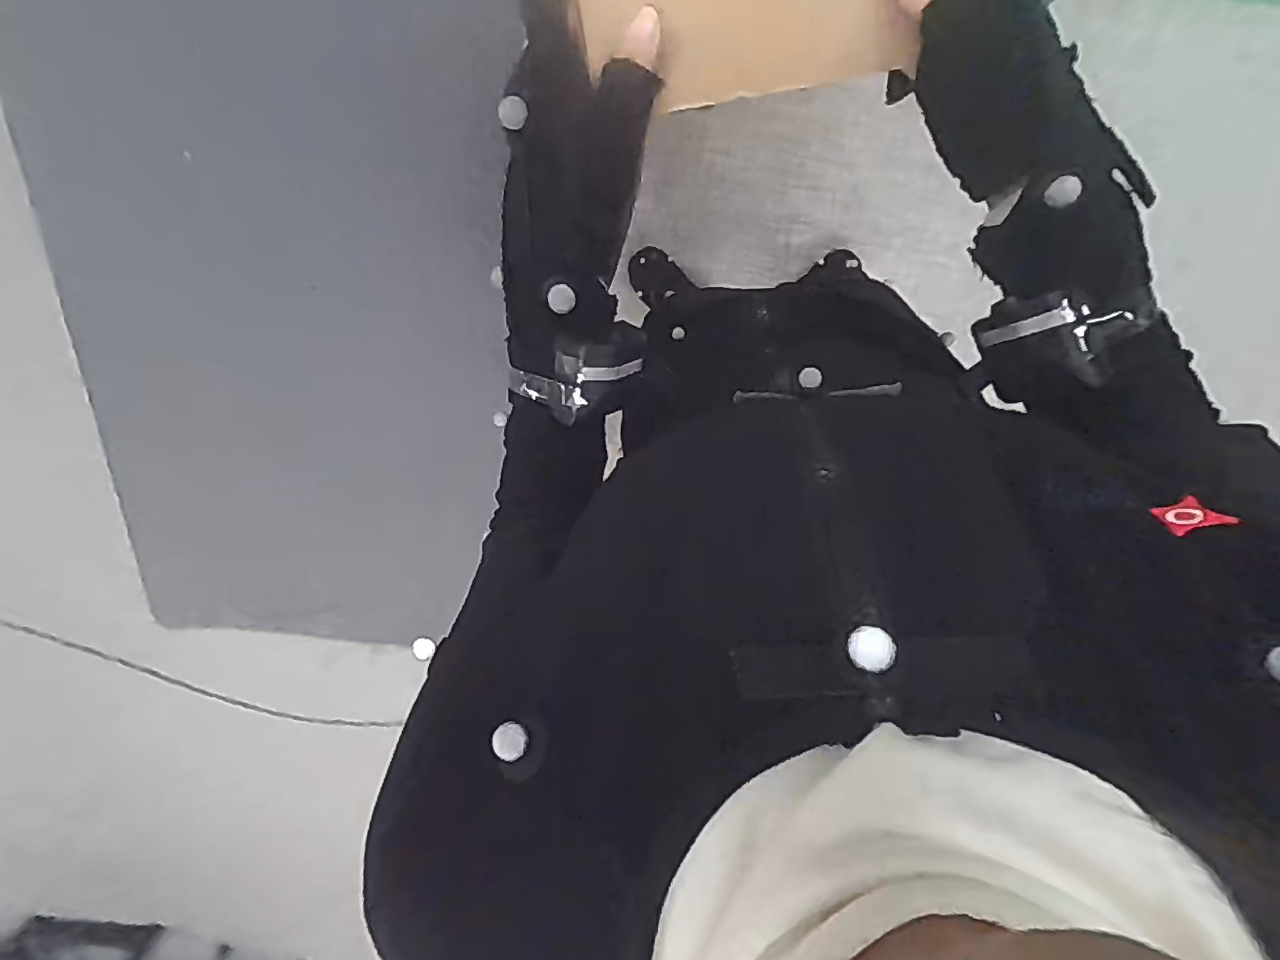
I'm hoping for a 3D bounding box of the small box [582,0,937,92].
[{"bbox_3d":[0.047,-0.330,0.293,0.179,0.176,0.168,-10,130,4],"label":"small box"}]
